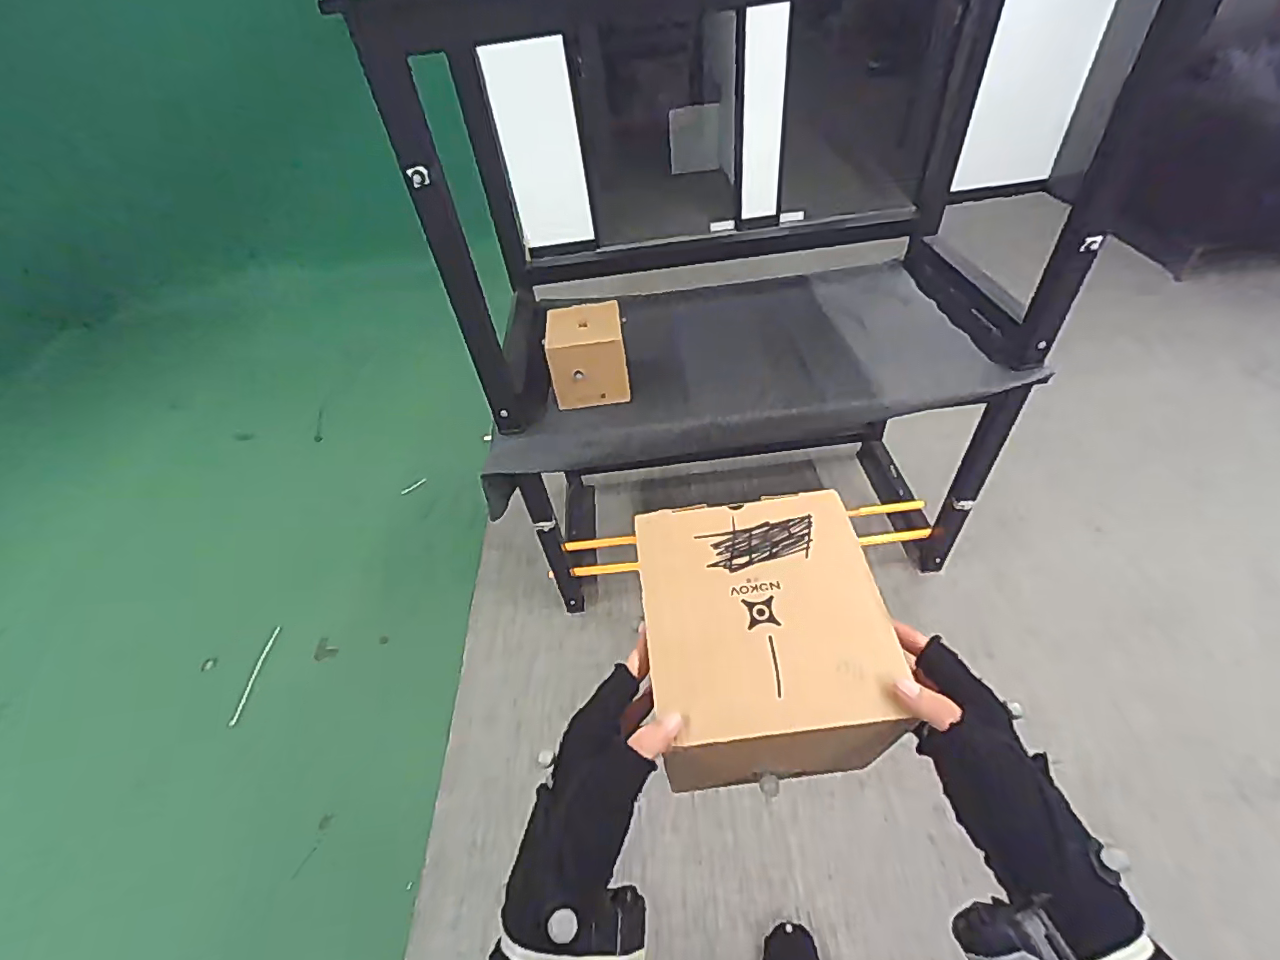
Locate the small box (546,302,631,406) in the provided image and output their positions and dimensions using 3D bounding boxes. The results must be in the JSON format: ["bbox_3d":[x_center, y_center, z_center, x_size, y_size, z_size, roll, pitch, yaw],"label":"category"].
[{"bbox_3d":[-0.115,-0.284,1.244,0.168,0.176,0.179,-8,44,1],"label":"small box"}]
